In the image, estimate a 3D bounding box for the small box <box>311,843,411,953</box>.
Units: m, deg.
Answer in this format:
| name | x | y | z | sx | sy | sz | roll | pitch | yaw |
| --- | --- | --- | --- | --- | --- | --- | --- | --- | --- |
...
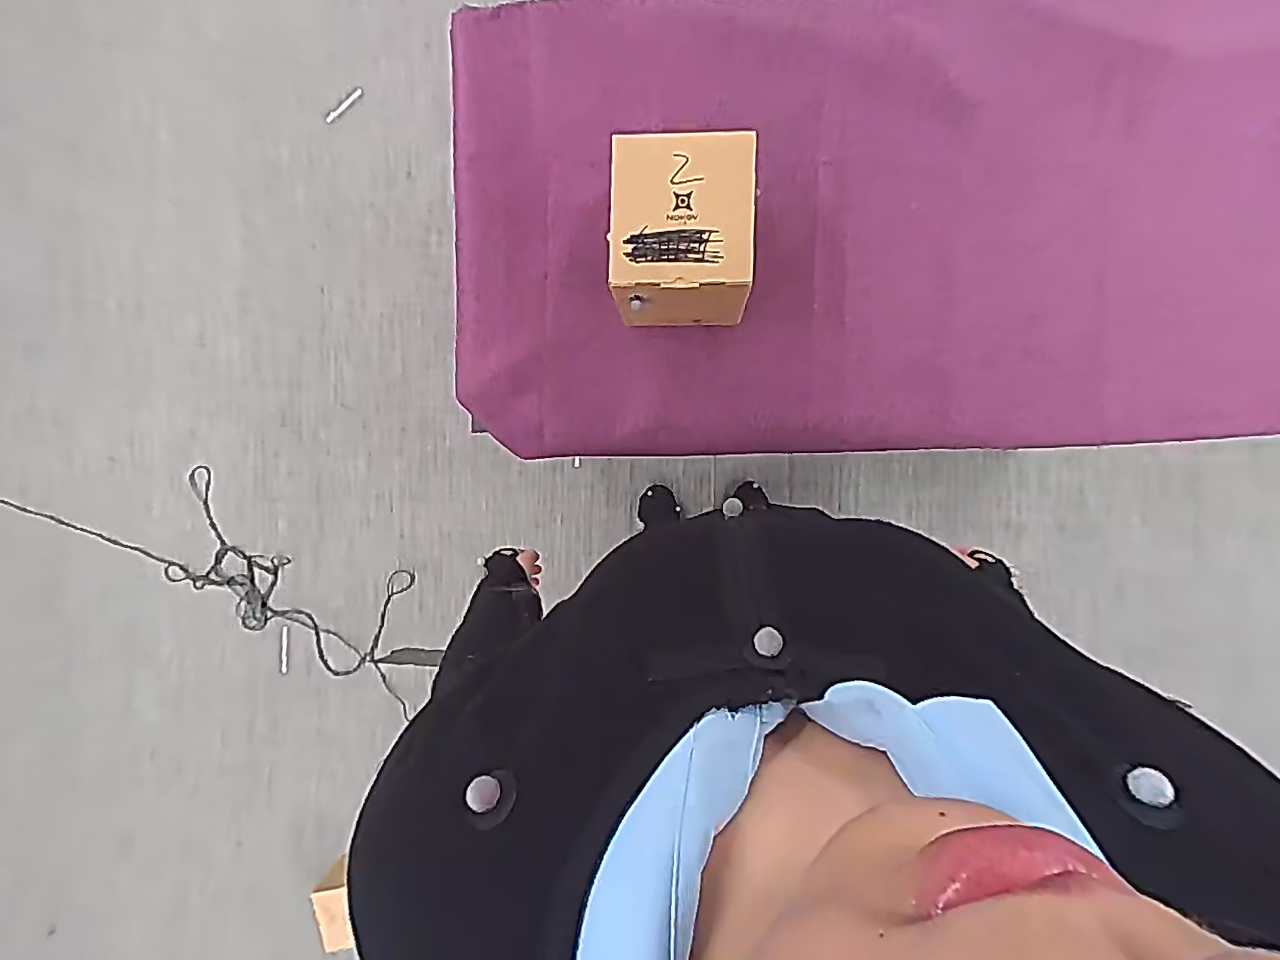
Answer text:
| name | x | y | z | sx | sy | sz | roll | pitch | yaw |
| --- | --- | --- | --- | --- | --- | --- | --- | --- | --- |
| small box | -0.761 | 1.148 | 1.499 | 0.179 | 0.176 | 0.168 | -15 | 89 | 5 |
